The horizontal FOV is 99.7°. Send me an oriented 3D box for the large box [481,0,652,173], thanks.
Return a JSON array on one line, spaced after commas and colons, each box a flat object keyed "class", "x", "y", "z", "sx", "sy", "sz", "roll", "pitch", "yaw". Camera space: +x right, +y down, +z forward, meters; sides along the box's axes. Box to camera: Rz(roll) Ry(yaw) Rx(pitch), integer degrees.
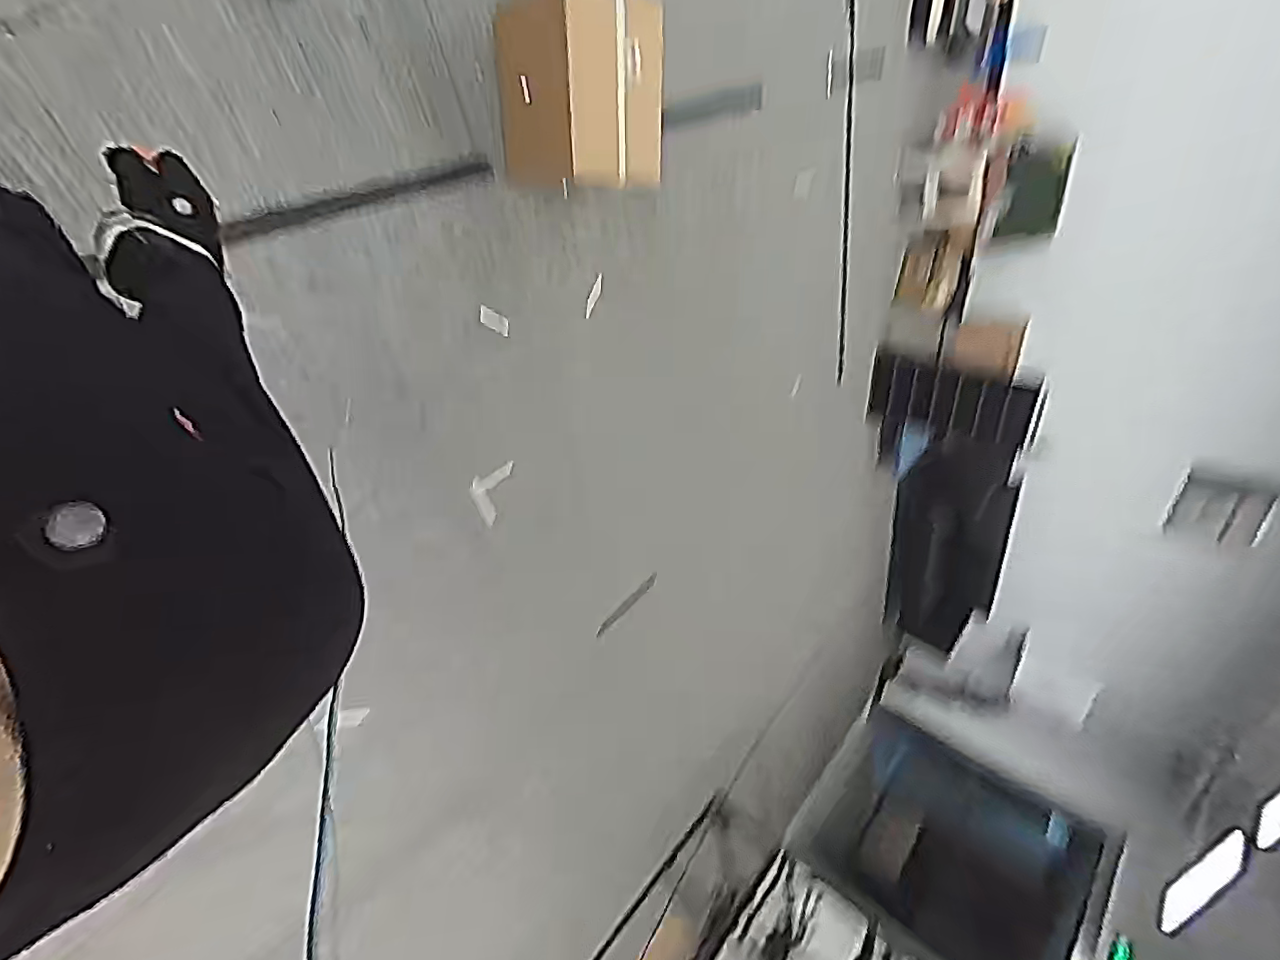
[{"class": "large box", "x": -0.185, "y": -1.052, "z": 1.429, "sx": 0.320, "sy": 0.320, "sz": 0.408, "roll": -25, "pitch": 125, "yaw": -39}]
